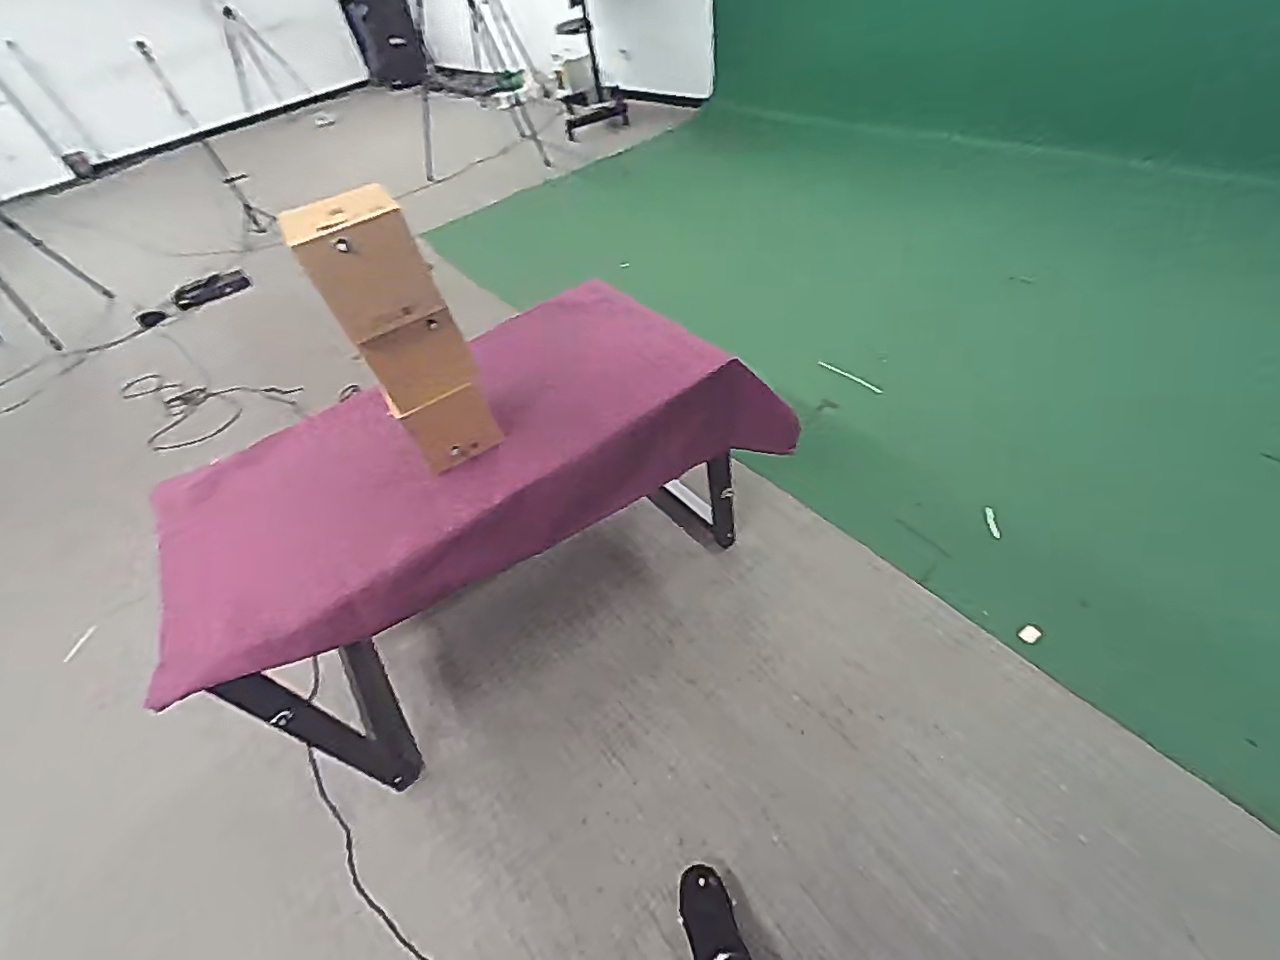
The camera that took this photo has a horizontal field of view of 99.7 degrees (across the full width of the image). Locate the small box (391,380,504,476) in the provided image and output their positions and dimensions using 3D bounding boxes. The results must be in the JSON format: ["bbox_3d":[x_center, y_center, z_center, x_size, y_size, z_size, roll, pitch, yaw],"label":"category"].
[{"bbox_3d":[-0.413,-0.141,1.137,0.168,0.176,0.179,-31,49,-14],"label":"small box"}]

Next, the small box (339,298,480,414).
[{"bbox_3d":[-0.434,-0.254,1.023,0.179,0.176,0.168,-31,49,-16],"label":"small box"}]

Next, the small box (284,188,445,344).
[{"bbox_3d":[-0.448,-0.351,0.889,0.168,0.176,0.179,-30,47,-14],"label":"small box"}]
